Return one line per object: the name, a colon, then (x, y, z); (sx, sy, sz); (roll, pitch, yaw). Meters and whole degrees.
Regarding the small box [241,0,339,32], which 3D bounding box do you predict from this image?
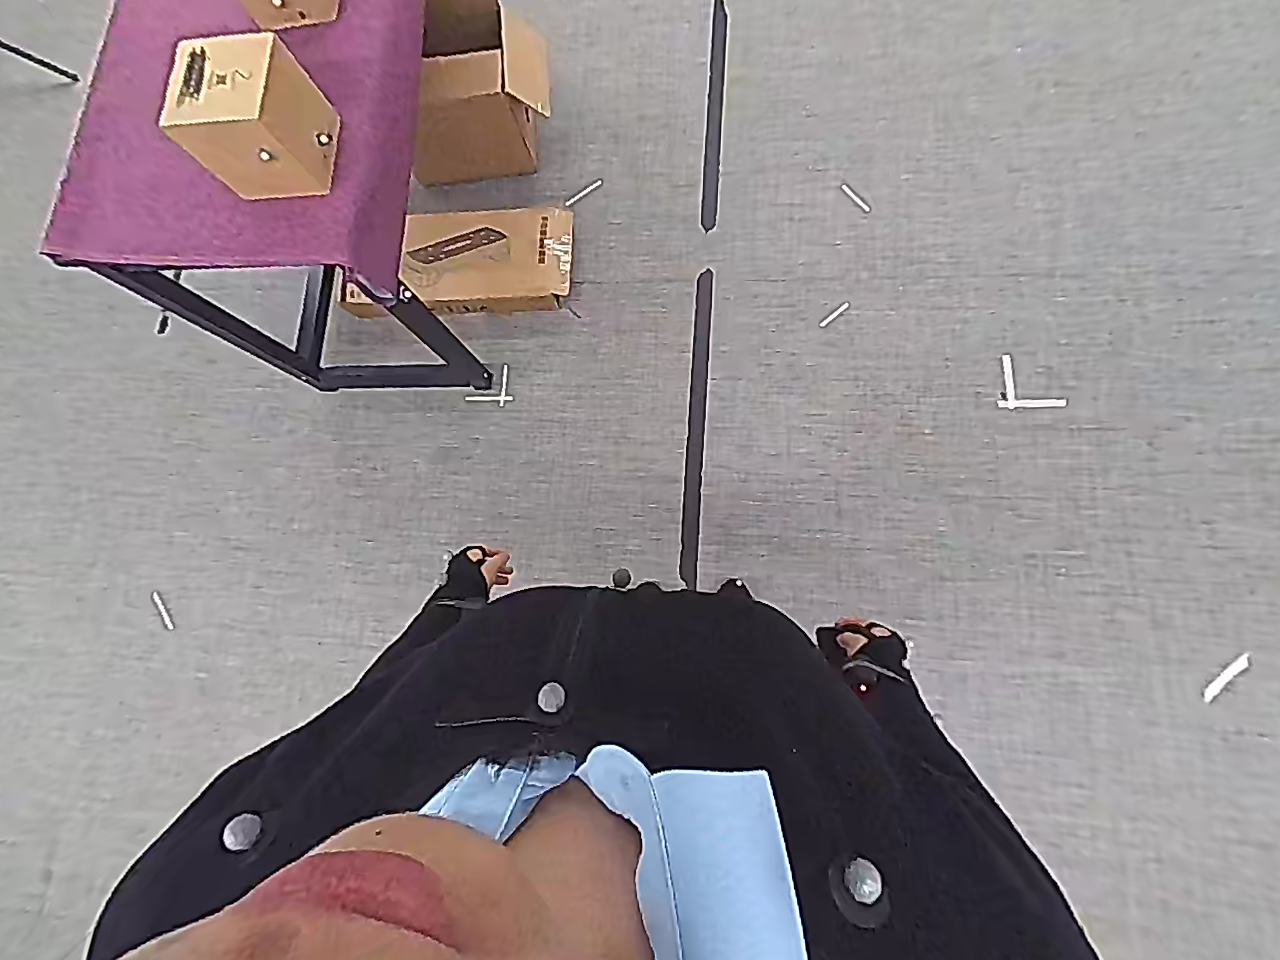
small box: (-0.687, -0.998, 1.014); (0.168, 0.176, 0.179); (-1, 79, 9)
